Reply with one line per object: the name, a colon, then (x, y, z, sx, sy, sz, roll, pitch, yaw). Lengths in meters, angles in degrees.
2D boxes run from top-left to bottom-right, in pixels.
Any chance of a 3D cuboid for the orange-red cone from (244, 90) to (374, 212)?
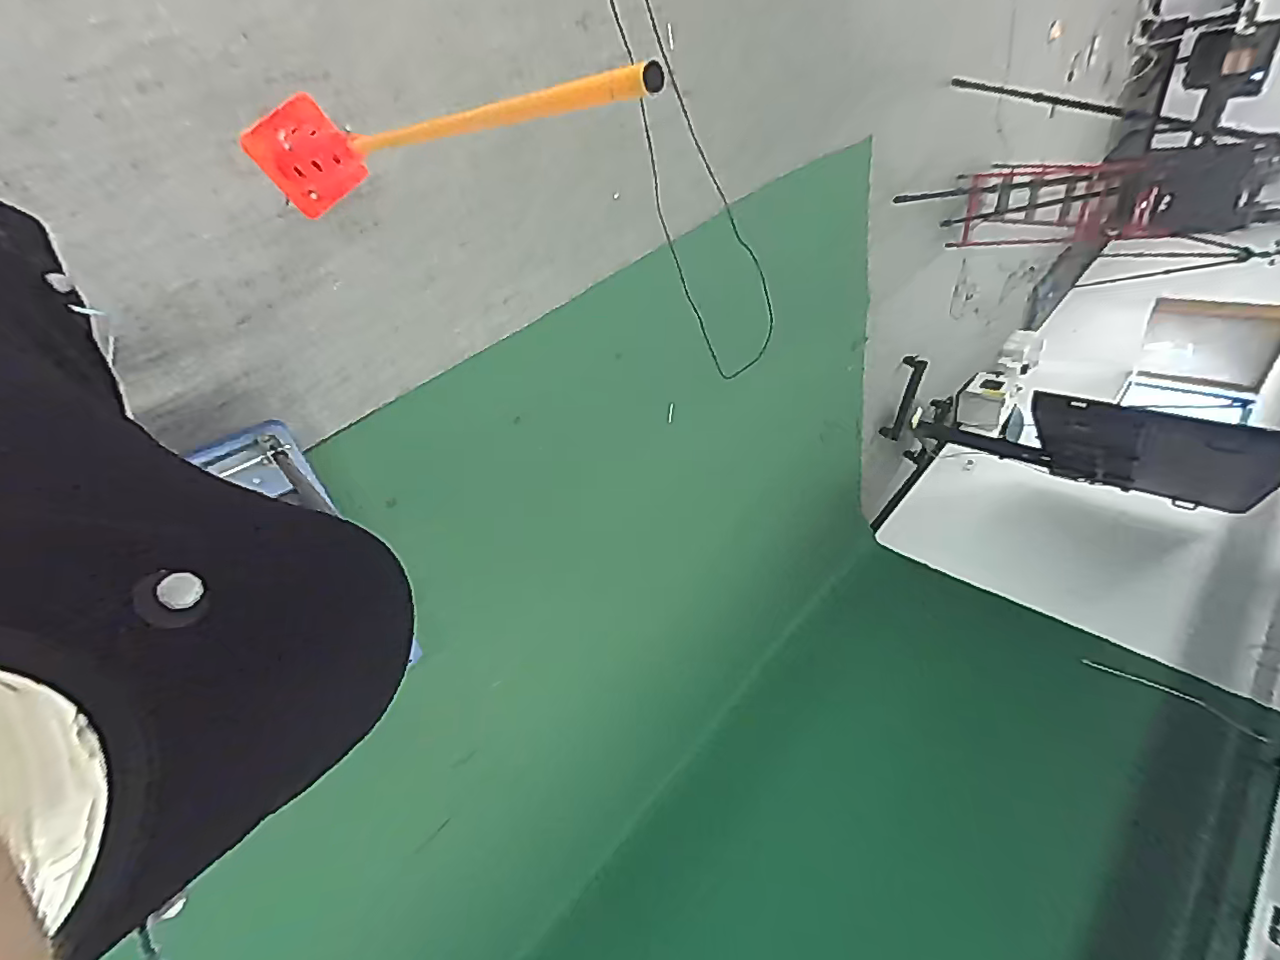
orange-red cone: (-0.654, -0.710, 1.155, 0.199, 0.360, 0.198, -52, 139, -16)
